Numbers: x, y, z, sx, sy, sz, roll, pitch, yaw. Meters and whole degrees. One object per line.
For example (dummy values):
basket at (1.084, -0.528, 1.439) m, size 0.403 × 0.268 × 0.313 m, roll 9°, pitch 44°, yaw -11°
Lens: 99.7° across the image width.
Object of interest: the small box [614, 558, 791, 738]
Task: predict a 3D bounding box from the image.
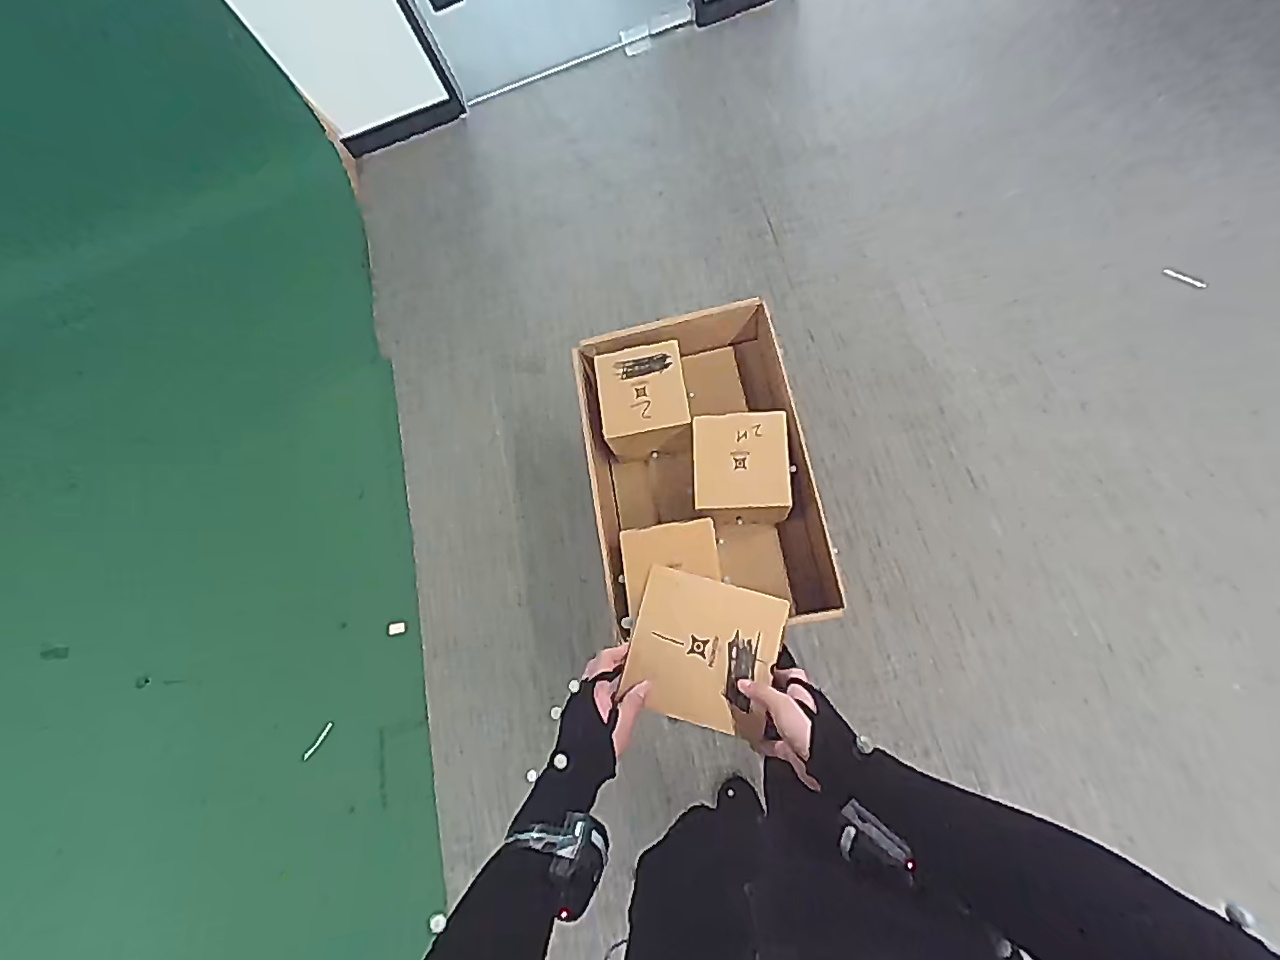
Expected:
small box at (0.074, 0.211, 0.706) m, size 0.179 × 0.176 × 0.168 m, roll 16°, pitch 75°, yaw 3°
